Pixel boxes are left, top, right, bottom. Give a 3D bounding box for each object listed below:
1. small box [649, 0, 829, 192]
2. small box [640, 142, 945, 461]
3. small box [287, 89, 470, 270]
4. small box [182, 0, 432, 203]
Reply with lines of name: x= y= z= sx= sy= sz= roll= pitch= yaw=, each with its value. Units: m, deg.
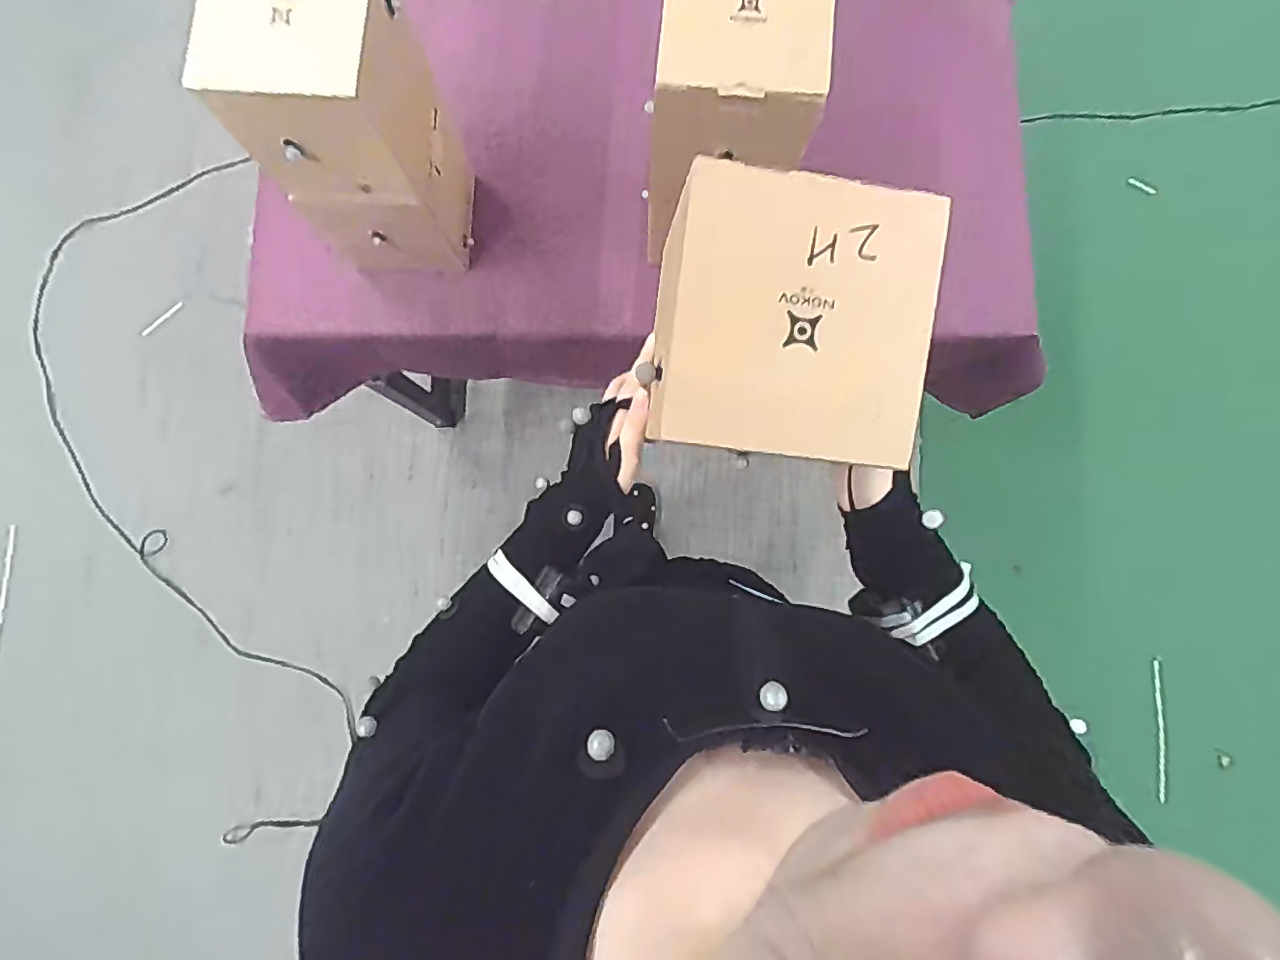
small box: x=0.100 y=-0.437 z=0.601 sx=0.168 sy=0.176 sz=0.179 roll=6 pitch=84 yaw=0
small box: x=0.094 y=-0.115 z=0.417 sx=0.168 sy=0.176 sz=0.179 roll=7 pitch=94 yaw=-5
small box: x=-0.350 y=-0.413 z=0.758 sx=0.179 sy=0.176 sz=0.168 roll=2 pitch=83 yaw=-1
small box: x=-0.345 y=-0.435 z=0.597 sx=0.168 sy=0.176 sz=0.179 roll=3 pitch=82 yaw=0
